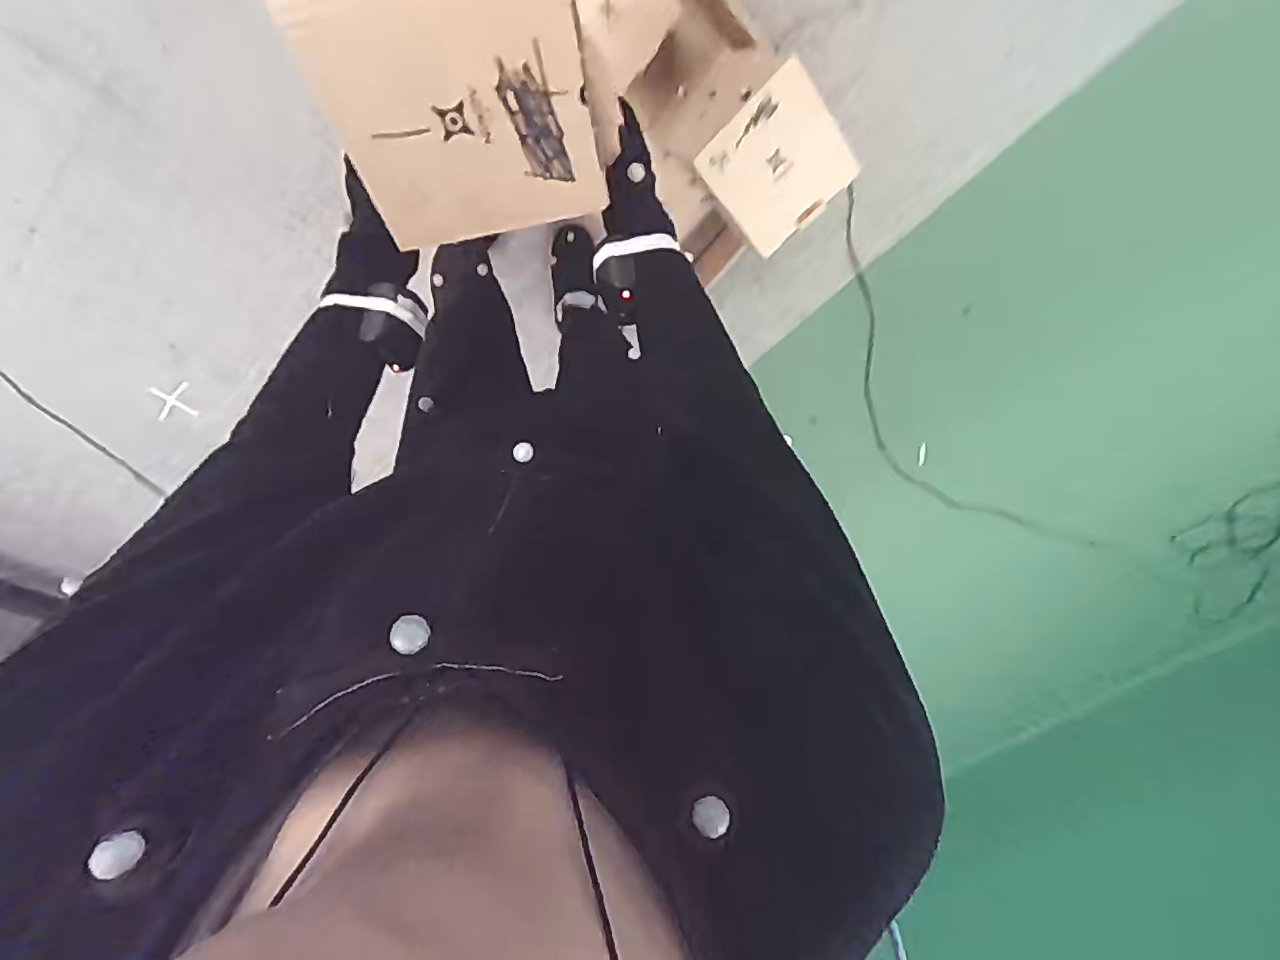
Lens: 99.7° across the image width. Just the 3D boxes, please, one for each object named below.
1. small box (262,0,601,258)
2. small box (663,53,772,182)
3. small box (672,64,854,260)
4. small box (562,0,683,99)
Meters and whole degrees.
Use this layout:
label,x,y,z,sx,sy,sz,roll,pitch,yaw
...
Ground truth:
label,x,y,z,sx,sy,sz,roll,pitch,yaw
small box,-0.139,-0.309,0.417,0.179,0.176,0.168,-12,148,2
small box,0.158,-0.570,0.907,0.168,0.176,0.179,34,116,-30
small box,0.169,-0.462,0.783,0.168,0.176,0.179,-39,124,20
small box,-0.058,-0.788,0.911,0.179,0.176,0.168,32,118,-31
